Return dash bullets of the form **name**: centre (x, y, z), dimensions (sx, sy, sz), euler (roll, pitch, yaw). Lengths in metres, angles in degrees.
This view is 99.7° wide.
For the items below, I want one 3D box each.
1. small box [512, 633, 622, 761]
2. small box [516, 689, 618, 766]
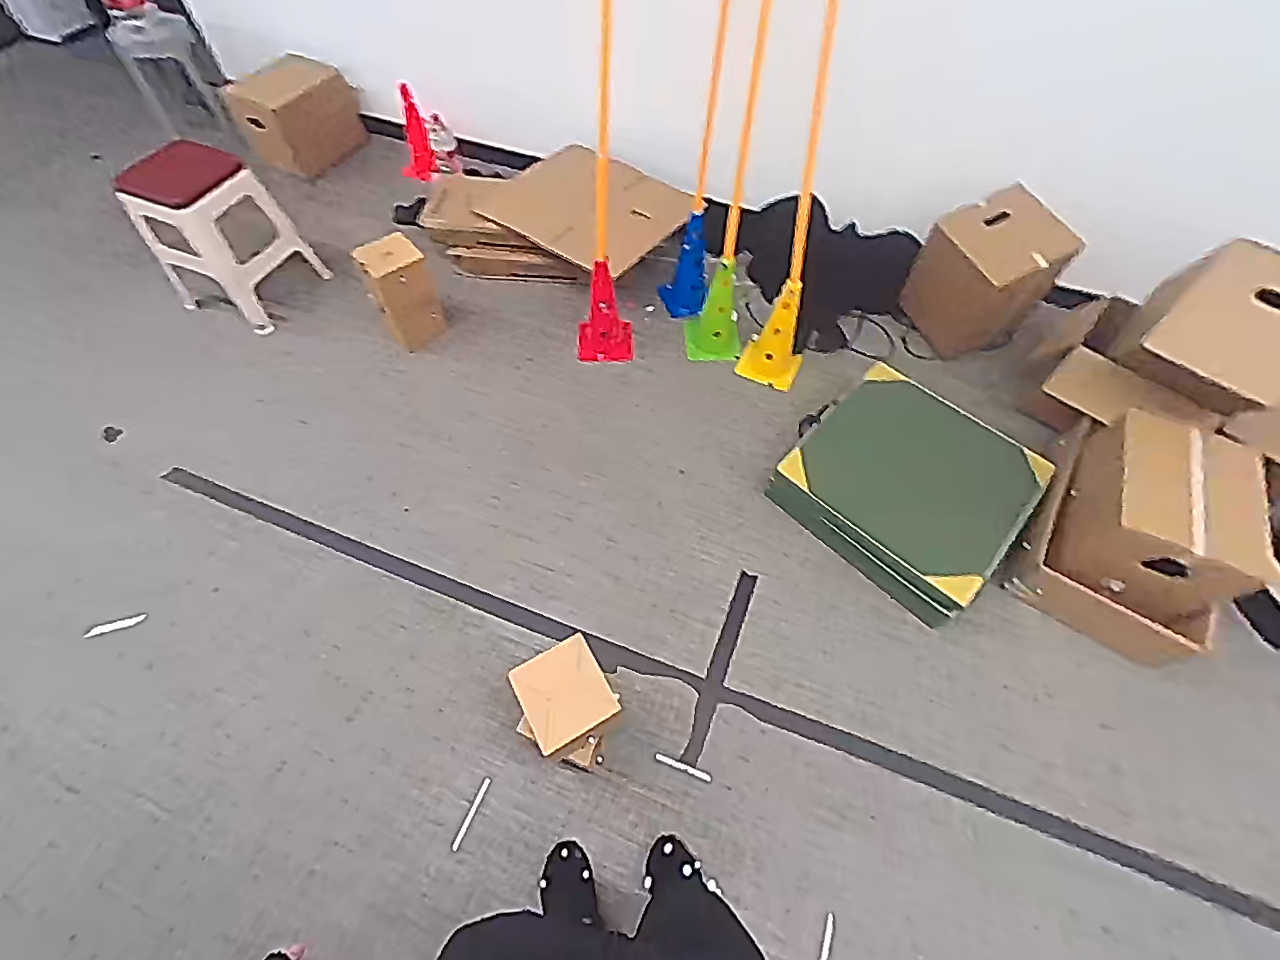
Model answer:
- **small box**: centre (-0.153, 0.454, 1.132), dimensions (0.168, 0.176, 0.179), euler (-26, 62, -17)
- **small box**: centre (-0.162, 0.551, 1.269), dimensions (0.179, 0.176, 0.168), euler (21, 60, 12)
